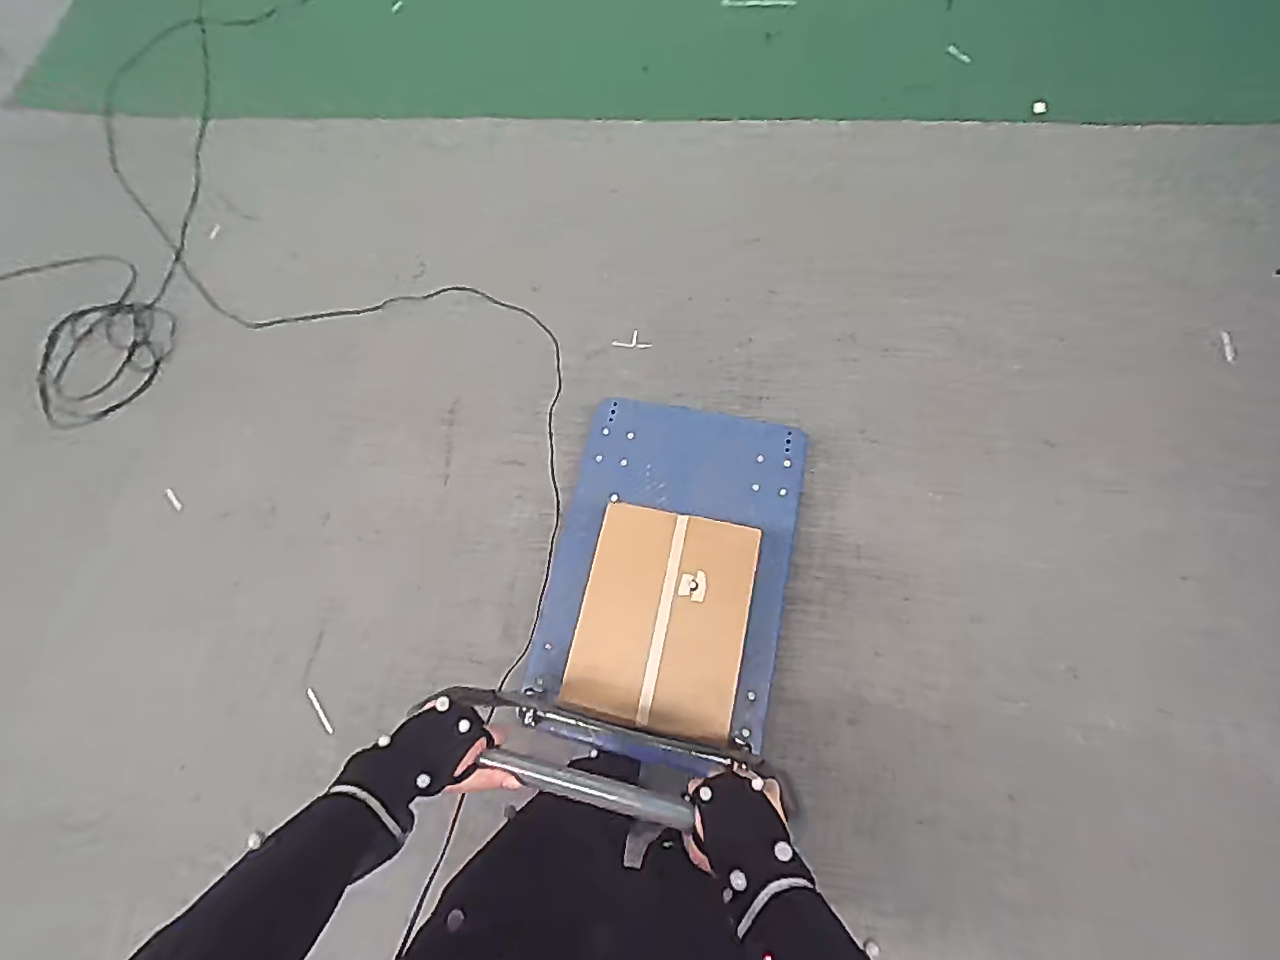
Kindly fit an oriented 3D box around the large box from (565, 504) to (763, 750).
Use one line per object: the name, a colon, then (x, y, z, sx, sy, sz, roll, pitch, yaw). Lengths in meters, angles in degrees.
large box: (0.064, 0.310, 1.148, 0.320, 0.320, 0.408, 11, 71, 8)
